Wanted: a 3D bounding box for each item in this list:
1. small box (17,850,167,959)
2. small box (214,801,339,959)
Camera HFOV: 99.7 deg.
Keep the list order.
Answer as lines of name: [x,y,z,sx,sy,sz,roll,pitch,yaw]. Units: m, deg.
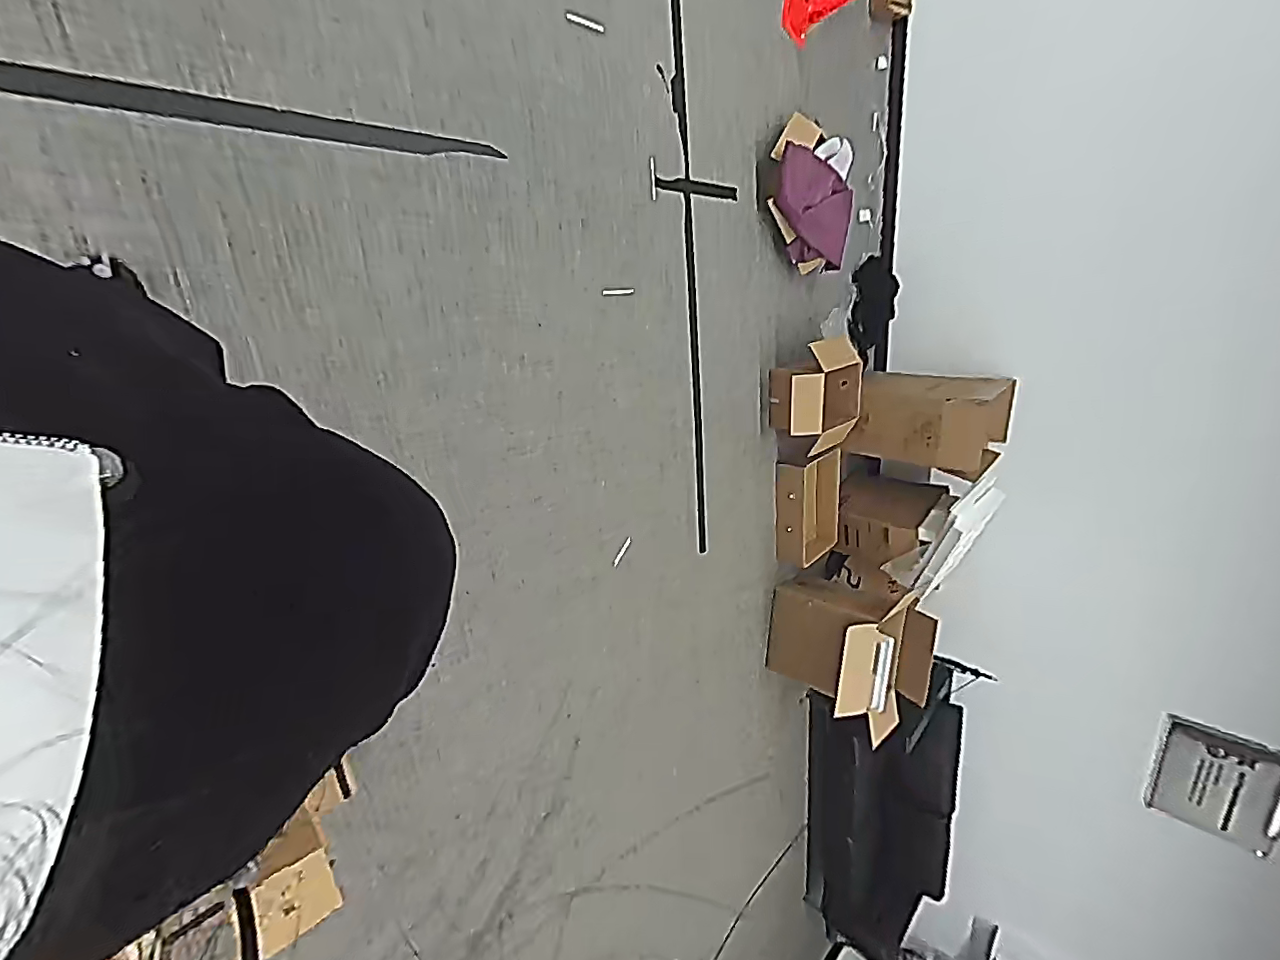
small box: [-1.075,0.882,1.067,0.168,0.176,0.179,-21,114,-40]
small box: [-0.762,0.828,1.135,0.168,0.176,0.179,-21,115,-41]
